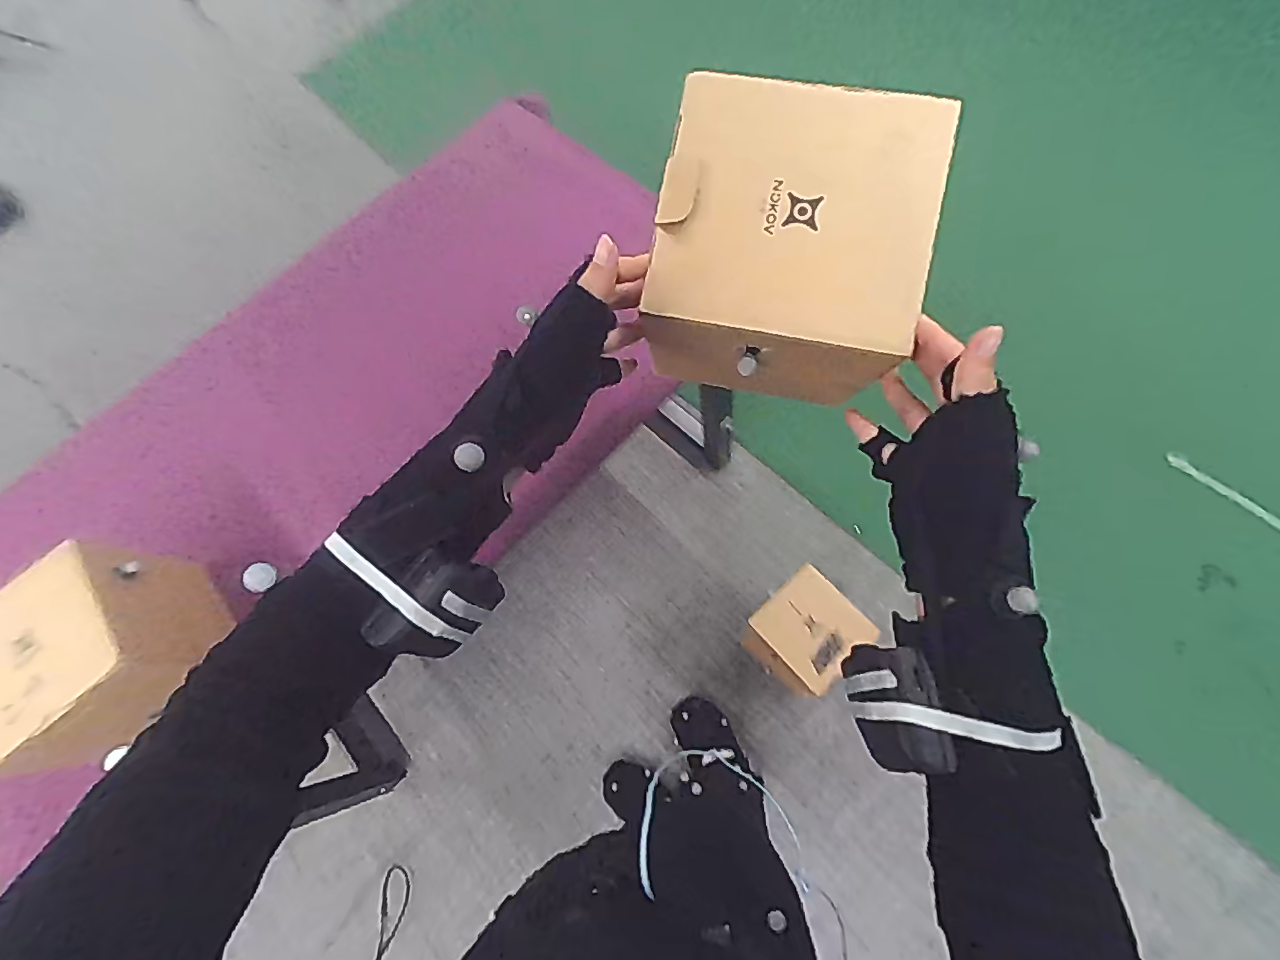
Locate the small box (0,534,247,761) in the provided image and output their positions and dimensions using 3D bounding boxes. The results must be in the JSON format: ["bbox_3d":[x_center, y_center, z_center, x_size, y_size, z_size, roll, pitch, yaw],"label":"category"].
[{"bbox_3d":[-0.617,0.194,0.627,0.168,0.176,0.179,-40,71,-7],"label":"small box"}]

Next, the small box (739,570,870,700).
[{"bbox_3d":[0.314,0.305,1.070,0.168,0.176,0.179,-40,70,-7],"label":"small box"}]
